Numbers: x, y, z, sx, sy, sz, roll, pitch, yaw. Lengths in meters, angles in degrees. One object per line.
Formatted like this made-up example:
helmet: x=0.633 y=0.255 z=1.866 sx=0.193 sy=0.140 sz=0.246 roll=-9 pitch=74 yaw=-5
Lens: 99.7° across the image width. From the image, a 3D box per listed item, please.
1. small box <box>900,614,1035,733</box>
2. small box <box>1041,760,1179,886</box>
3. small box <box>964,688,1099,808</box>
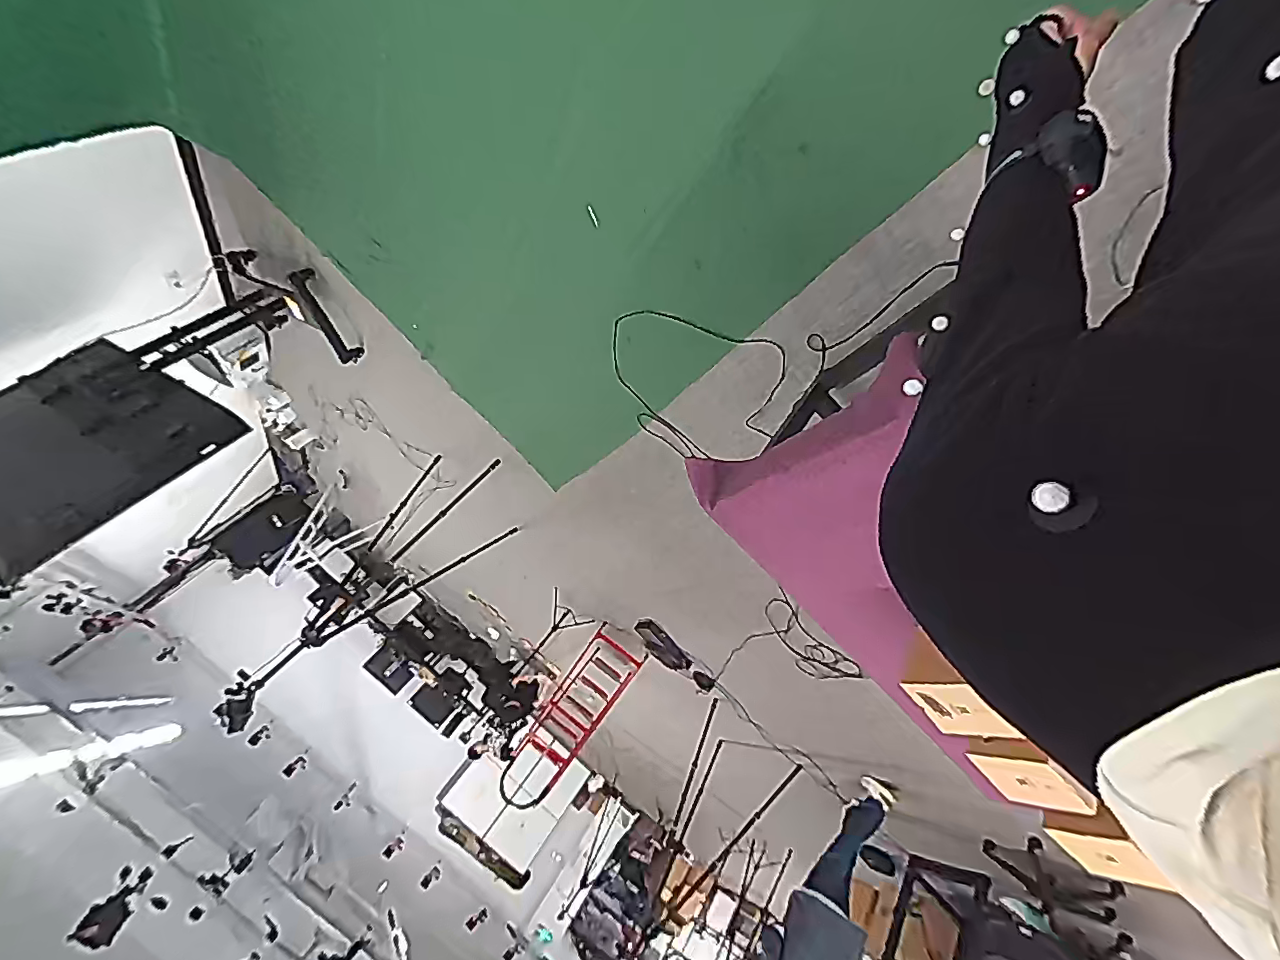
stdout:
small box: x=0.703 y=0.408 z=1.159 sx=0.168 sy=0.176 sz=0.179 roll=47 pitch=146 yaw=-9
small box: x=1.047 y=0.747 z=1.204 sx=0.168 sy=0.176 sz=0.179 roll=43 pitch=147 yaw=-3
small box: x=0.864 y=0.577 z=1.192 sx=0.168 sy=0.176 sz=0.179 roll=46 pitch=147 yaw=-7
